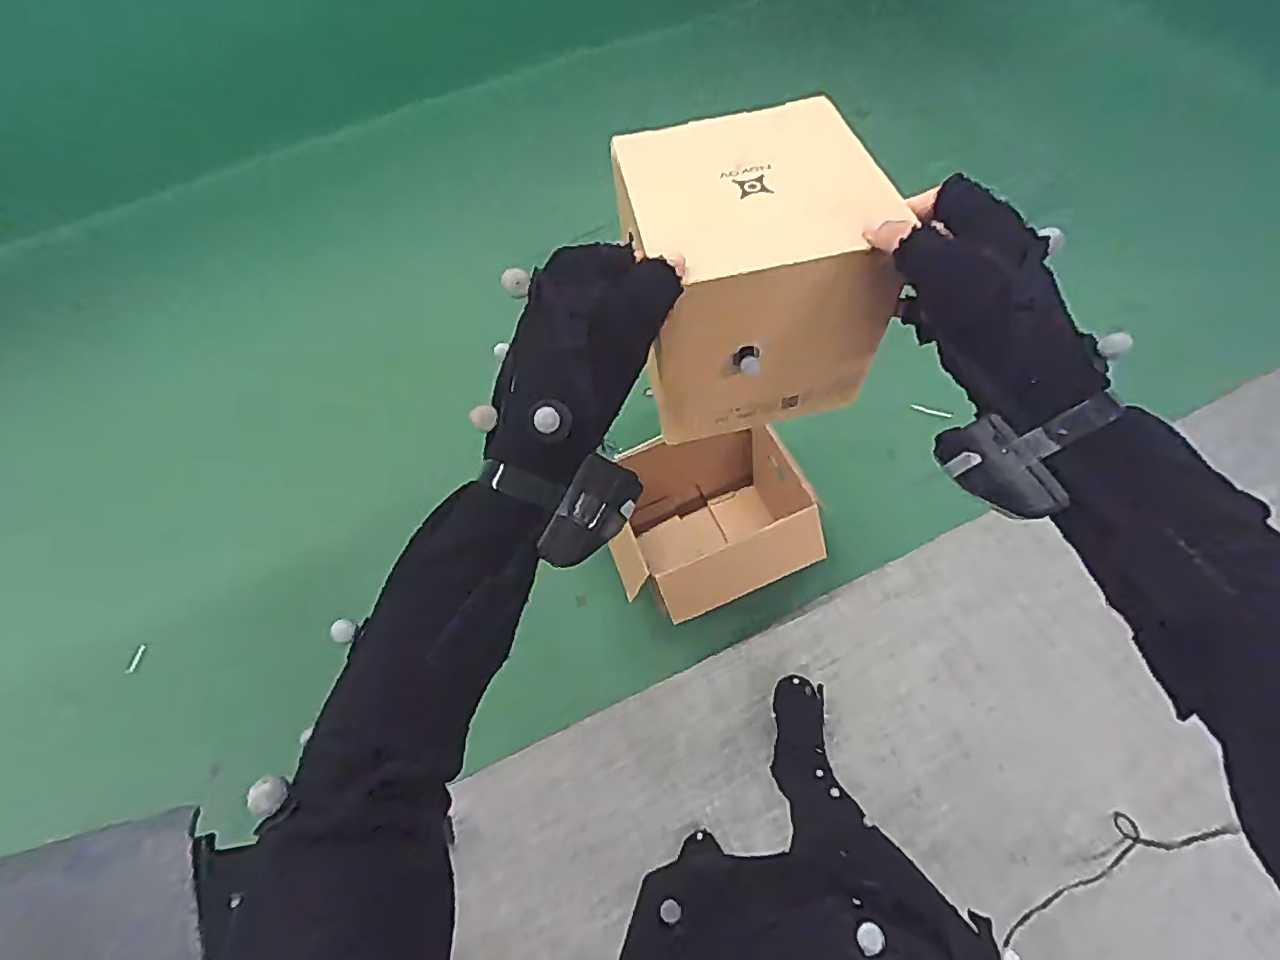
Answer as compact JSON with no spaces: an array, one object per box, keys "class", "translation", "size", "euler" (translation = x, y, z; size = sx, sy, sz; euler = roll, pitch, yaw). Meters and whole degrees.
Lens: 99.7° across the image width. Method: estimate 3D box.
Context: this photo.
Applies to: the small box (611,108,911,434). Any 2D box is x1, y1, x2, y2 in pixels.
[{"class":"small box","translation":[0.080,-0.154,0.436],"size":[0.168,0.176,0.179],"euler":[-12,58,-1]}]
